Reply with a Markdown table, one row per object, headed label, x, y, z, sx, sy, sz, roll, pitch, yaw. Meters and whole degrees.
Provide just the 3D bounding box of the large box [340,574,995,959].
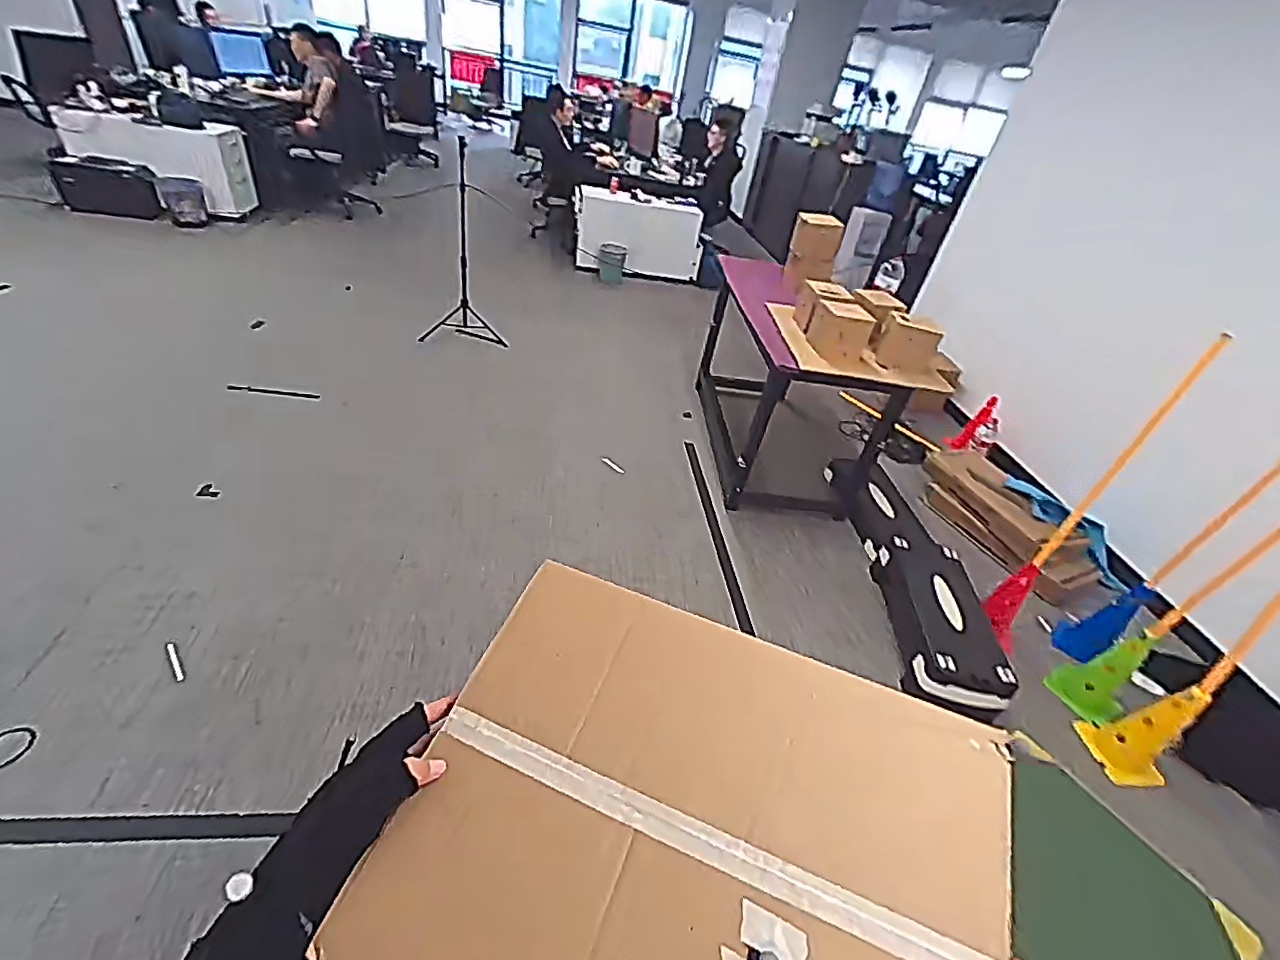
| label | x | y | z | sx | sy | sz | roll | pitch | yaw |
| --- | --- | --- | --- | --- | --- | --- | --- | --- | --- |
| large box | 0.040 | 0.349 | 0.507 | 0.408 | 0.320 | 0.320 | 18 | 53 | 15 |
